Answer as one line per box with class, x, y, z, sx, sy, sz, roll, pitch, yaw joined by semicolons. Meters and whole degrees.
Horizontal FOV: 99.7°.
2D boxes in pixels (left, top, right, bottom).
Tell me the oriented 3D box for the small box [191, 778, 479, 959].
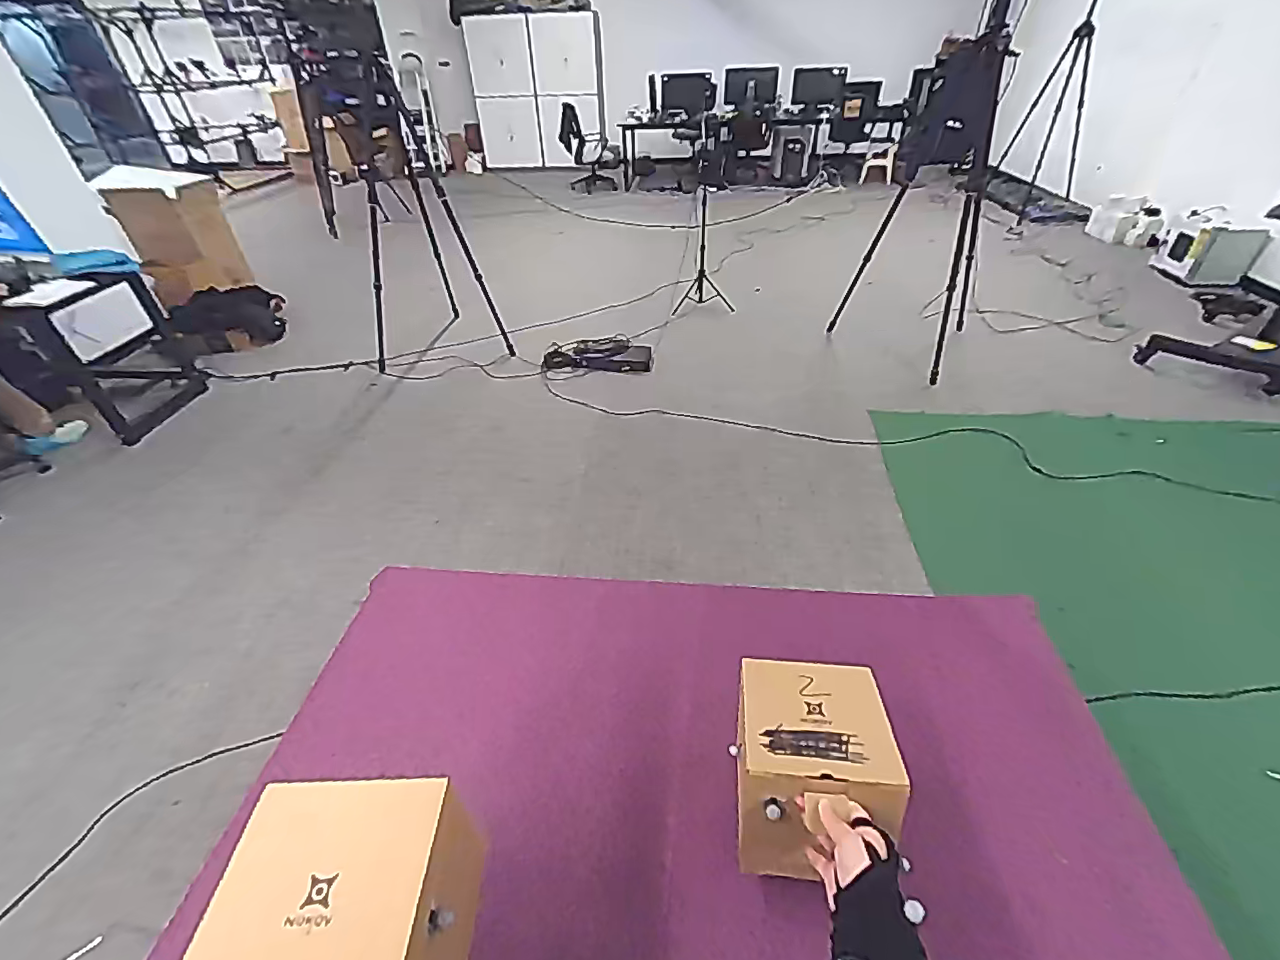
small box;-0.253;0.396;0.486;0.168;0.176;0.179;-2;40;0
